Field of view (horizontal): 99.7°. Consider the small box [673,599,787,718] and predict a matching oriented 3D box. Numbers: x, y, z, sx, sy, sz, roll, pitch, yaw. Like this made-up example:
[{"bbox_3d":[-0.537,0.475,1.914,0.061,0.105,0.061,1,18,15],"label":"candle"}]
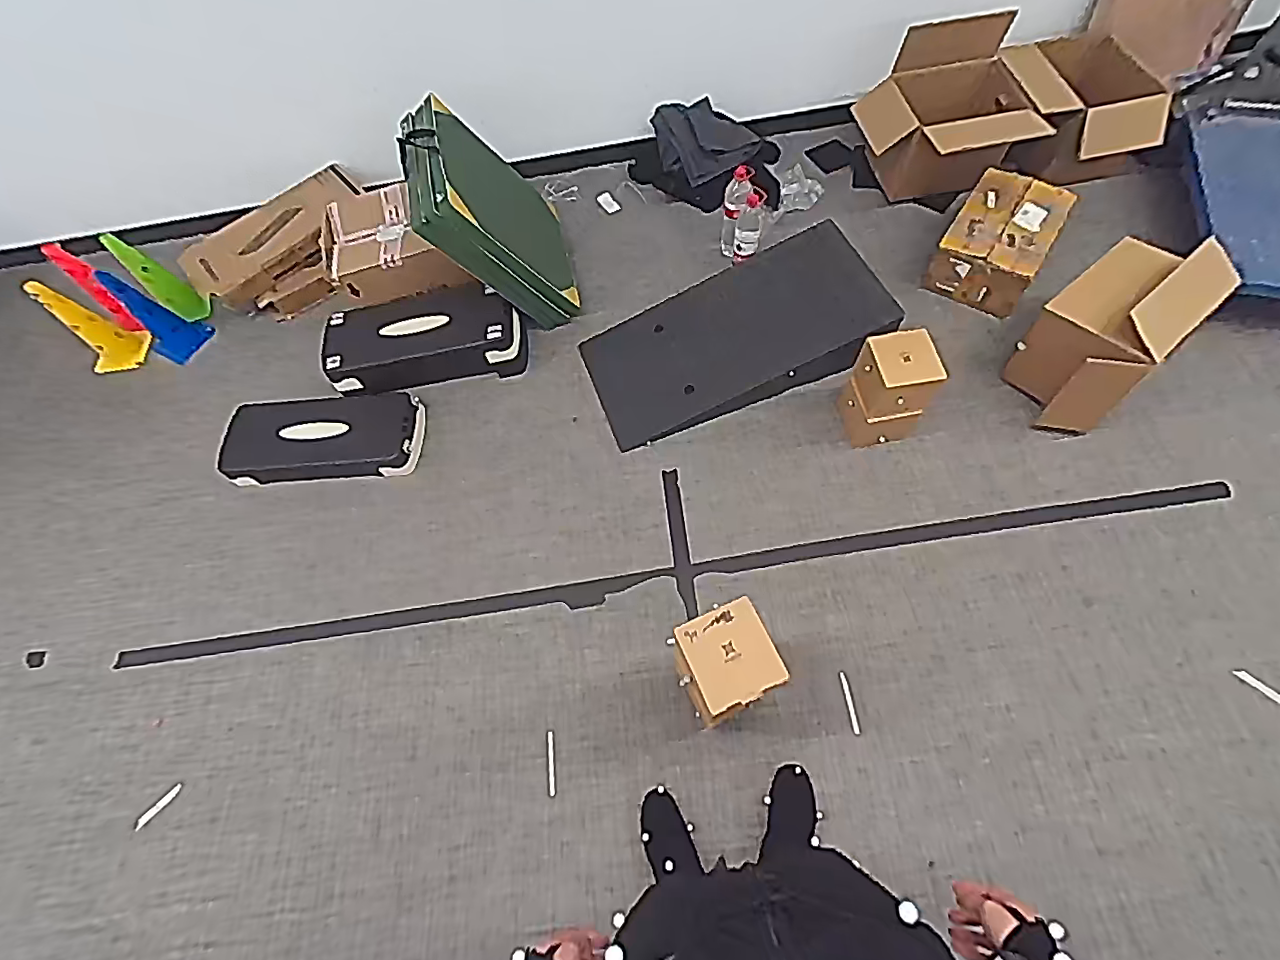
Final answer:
[{"bbox_3d":[0.179,0.370,1.111,0.168,0.176,0.179,-23,65,-6],"label":"small box"}]
